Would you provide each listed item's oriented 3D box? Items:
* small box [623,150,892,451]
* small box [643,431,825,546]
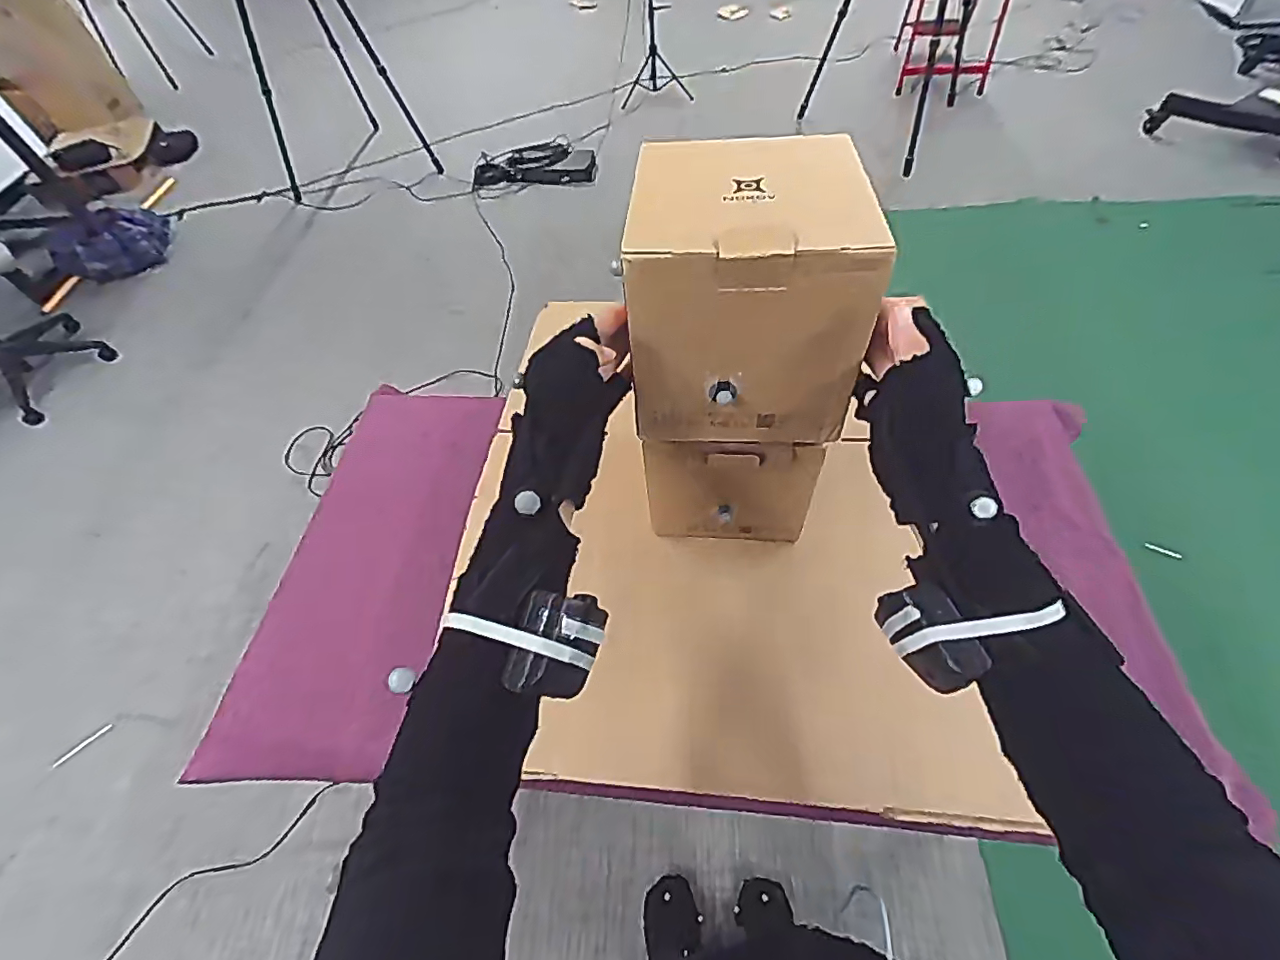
[{"bbox_3d":[0.081,-0.144,0.443,0.168,0.176,0.179,1,51,6],"label":"small box"},{"bbox_3d":[0.098,-0.047,0.596,0.168,0.176,0.179,2,55,8],"label":"small box"}]
